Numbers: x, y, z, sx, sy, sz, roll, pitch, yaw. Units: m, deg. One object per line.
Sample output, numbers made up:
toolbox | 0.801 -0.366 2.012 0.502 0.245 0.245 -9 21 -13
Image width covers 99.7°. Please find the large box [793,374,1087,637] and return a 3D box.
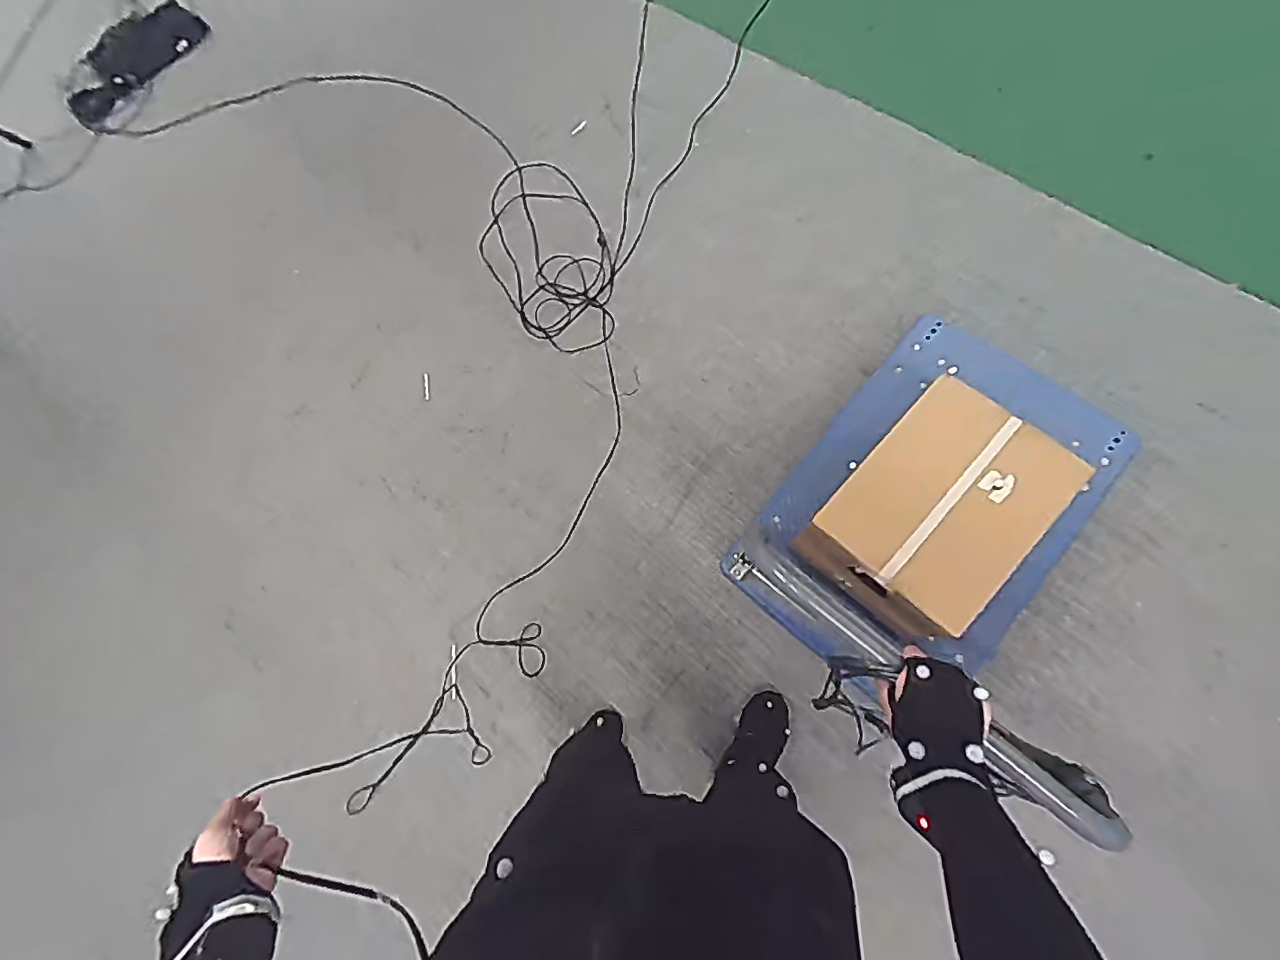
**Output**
large box | 0.578 0.073 1.124 0.320 0.320 0.408 42 83 15
